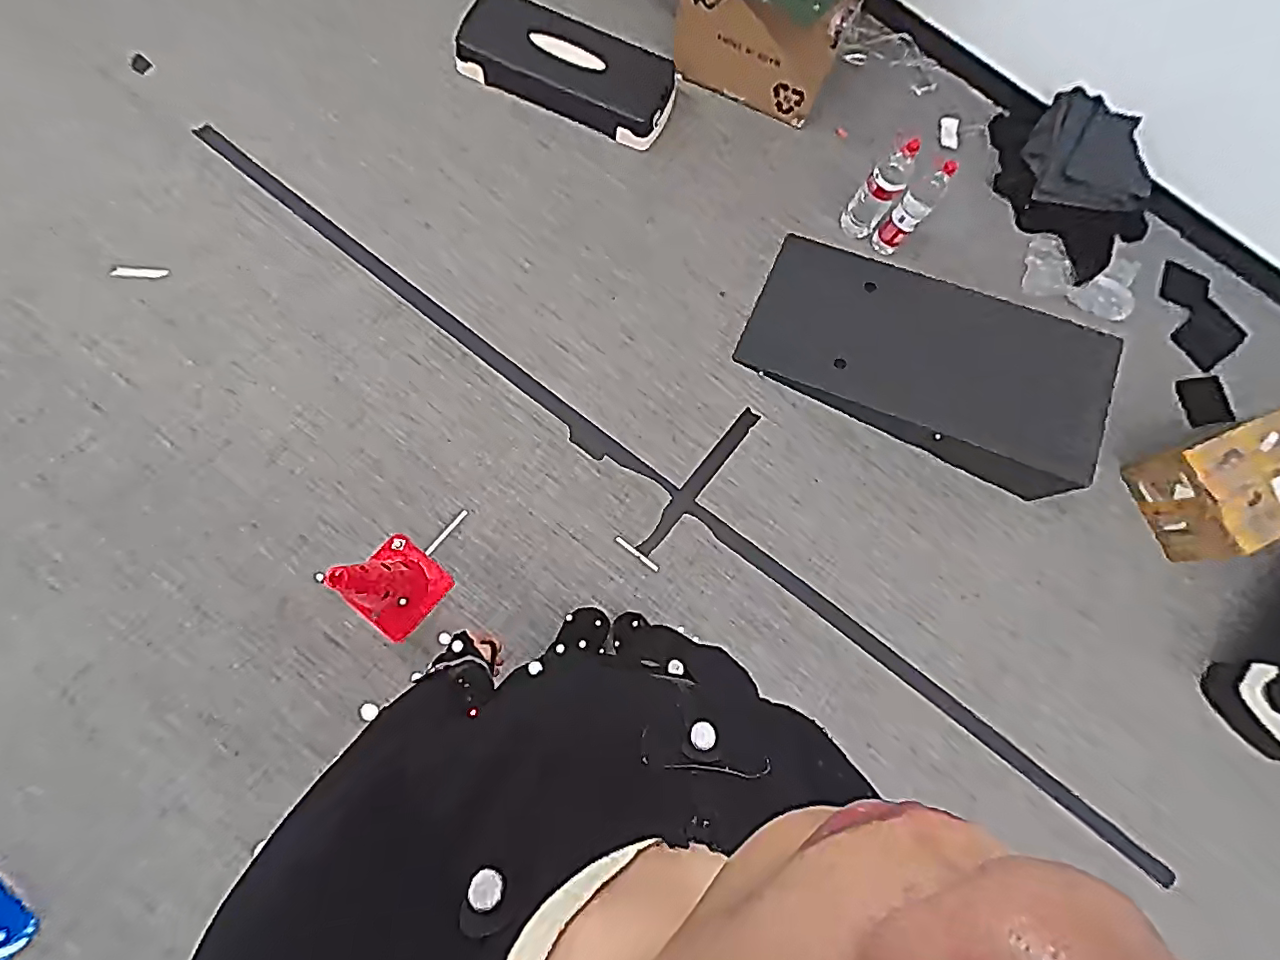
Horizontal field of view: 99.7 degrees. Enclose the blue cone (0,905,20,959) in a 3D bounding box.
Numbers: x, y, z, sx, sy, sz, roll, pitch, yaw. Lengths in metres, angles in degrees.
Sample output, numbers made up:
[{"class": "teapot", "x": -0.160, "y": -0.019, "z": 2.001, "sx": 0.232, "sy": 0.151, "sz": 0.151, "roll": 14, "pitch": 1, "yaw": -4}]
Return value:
[{"class": "blue cone", "x": -1.334, "y": 0.879, "z": 0.906, "sx": 0.193, "sy": 0.380, "sz": 0.192, "roll": 42, "pitch": 76, "yaw": 4}]
